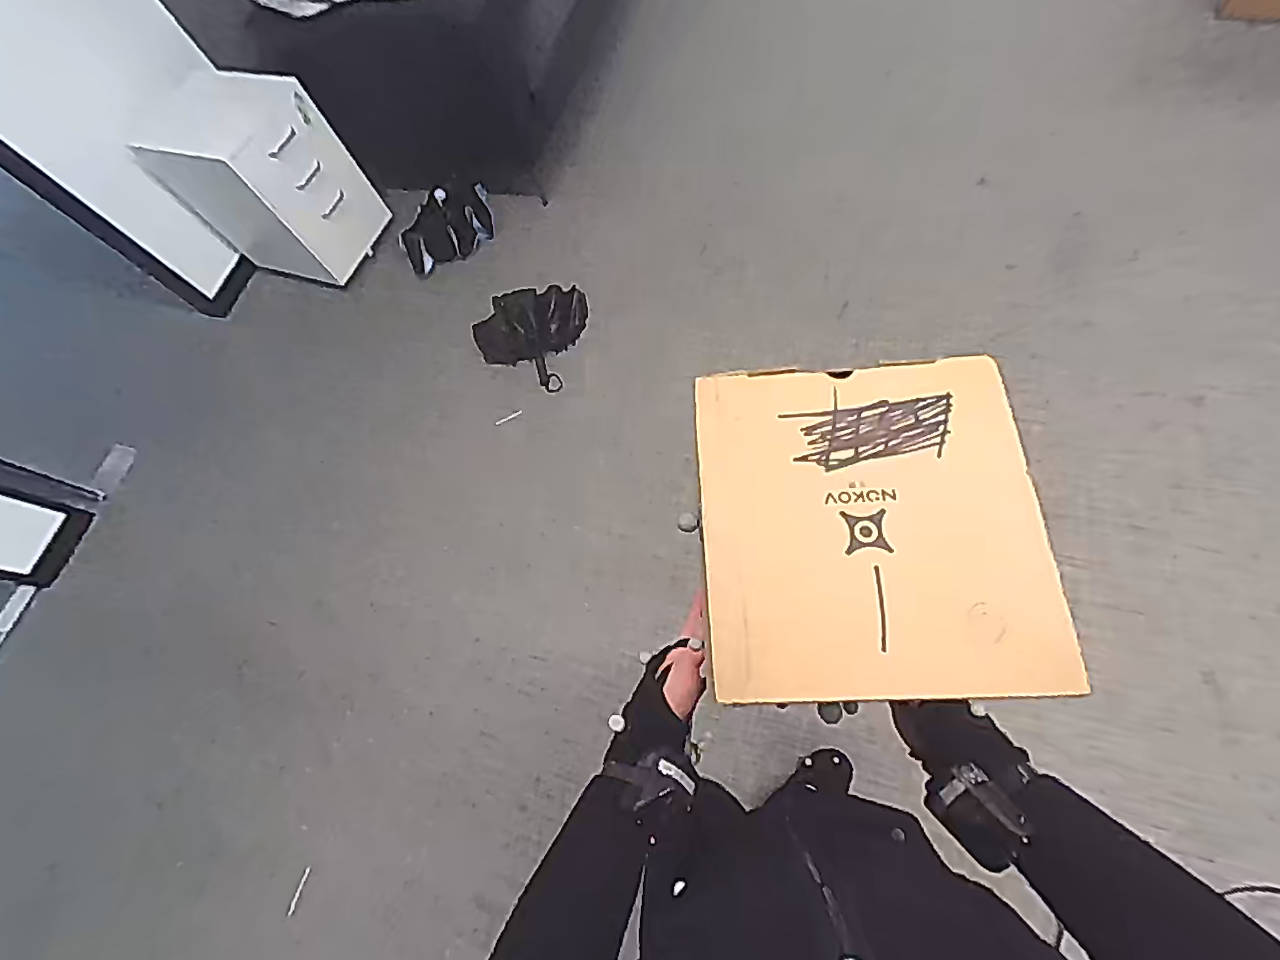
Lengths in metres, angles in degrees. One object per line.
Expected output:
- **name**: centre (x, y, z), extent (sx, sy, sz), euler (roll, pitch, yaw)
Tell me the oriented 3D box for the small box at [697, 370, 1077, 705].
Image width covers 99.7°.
- **small box**: centre (0.124, 0.049, 0.356), extent (0.168, 0.176, 0.179), euler (-4, 71, 5)
